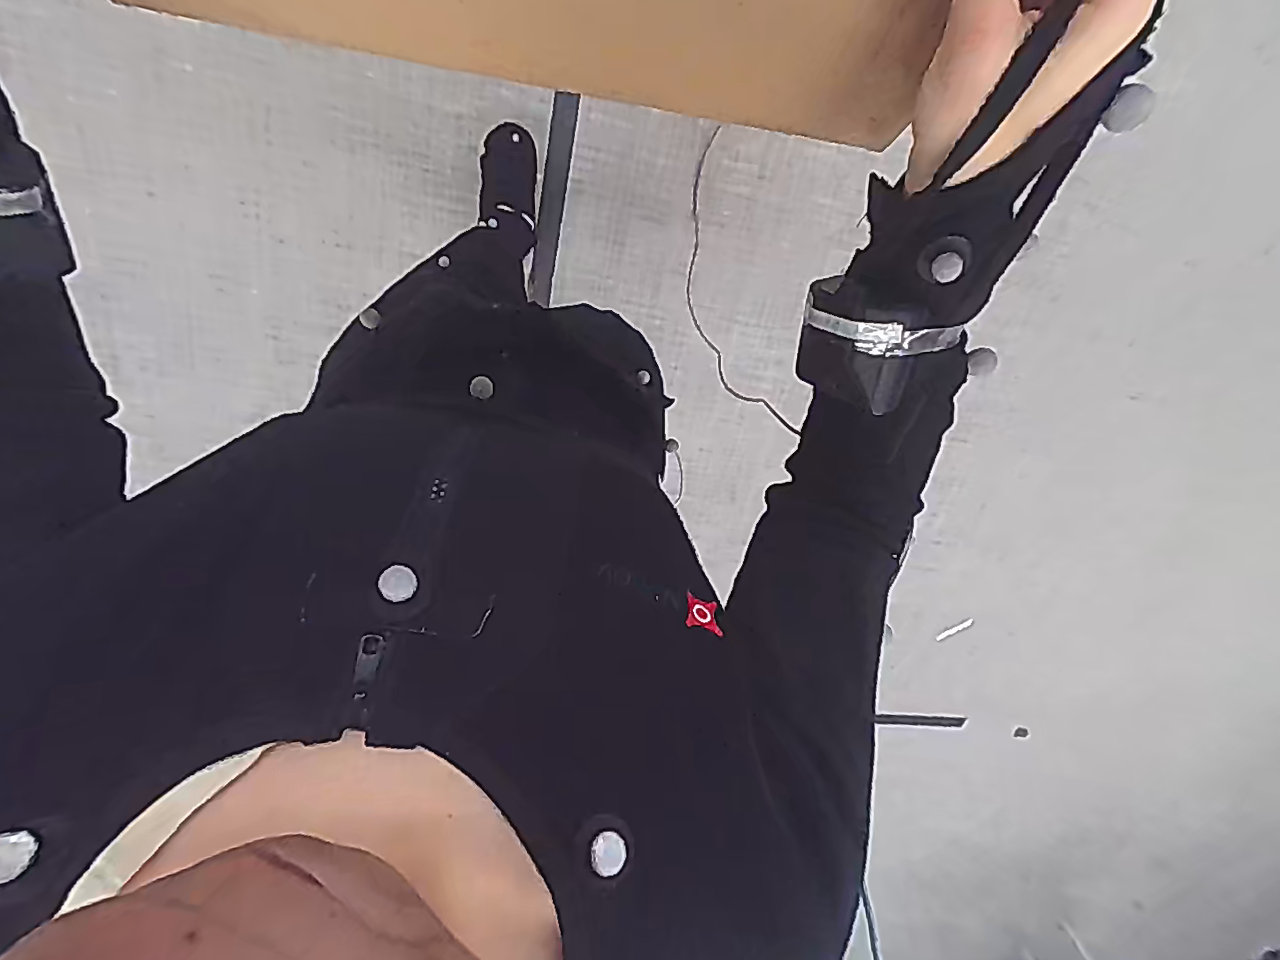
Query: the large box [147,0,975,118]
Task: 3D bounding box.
[{"bbox_3d":[-0.030,-0.380,0.149,0.408,0.320,0.320,6,88,-6],"label":"large box"}]
